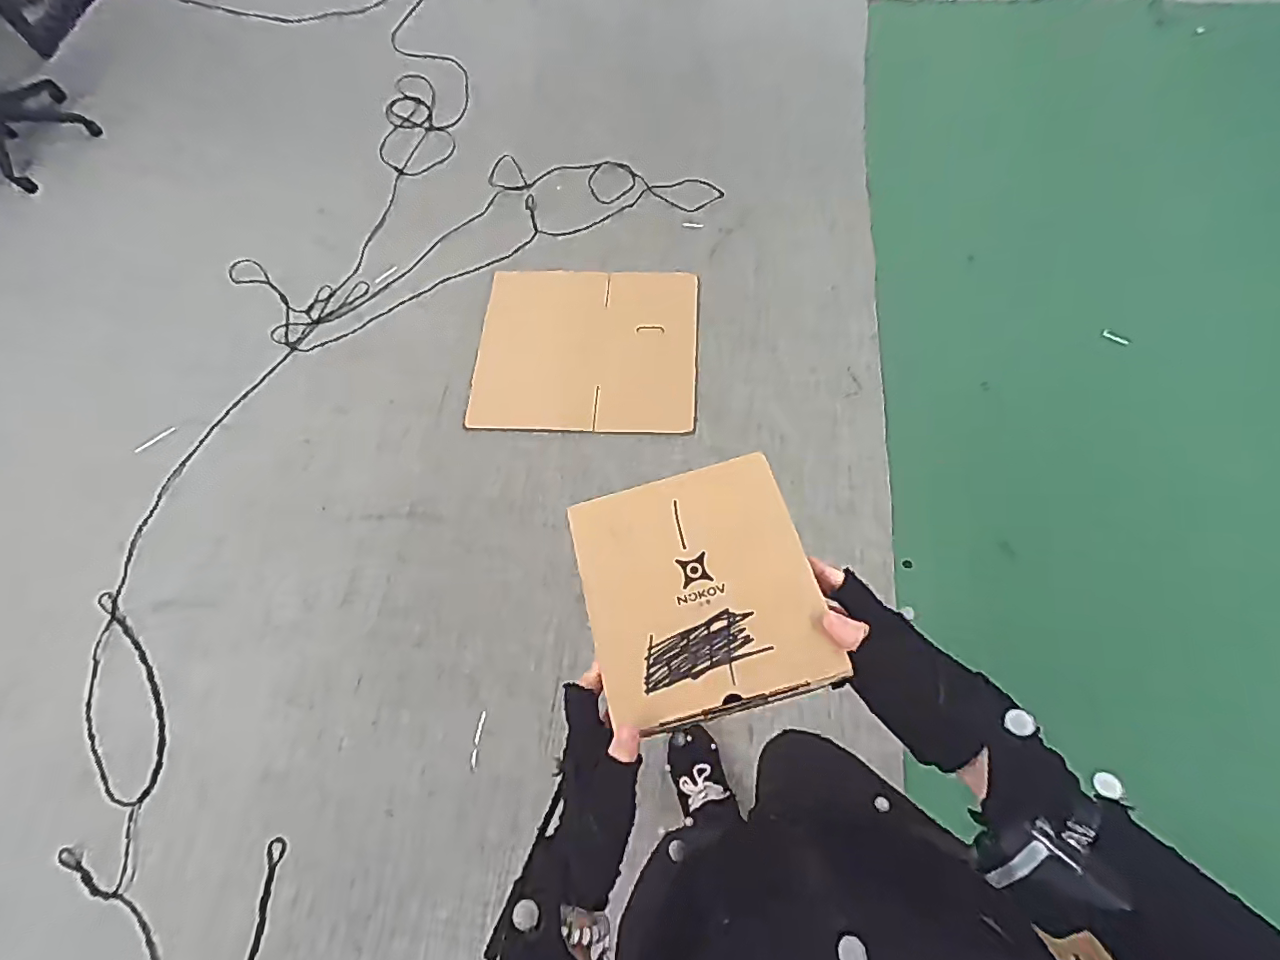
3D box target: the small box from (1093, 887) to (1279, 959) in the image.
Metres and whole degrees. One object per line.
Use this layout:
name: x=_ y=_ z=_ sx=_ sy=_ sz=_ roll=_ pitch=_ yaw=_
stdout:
small box: x=0.881 y=0.798 z=0.875 sx=0.168 sy=0.176 sz=0.179 roll=9 pitch=69 yaw=8
